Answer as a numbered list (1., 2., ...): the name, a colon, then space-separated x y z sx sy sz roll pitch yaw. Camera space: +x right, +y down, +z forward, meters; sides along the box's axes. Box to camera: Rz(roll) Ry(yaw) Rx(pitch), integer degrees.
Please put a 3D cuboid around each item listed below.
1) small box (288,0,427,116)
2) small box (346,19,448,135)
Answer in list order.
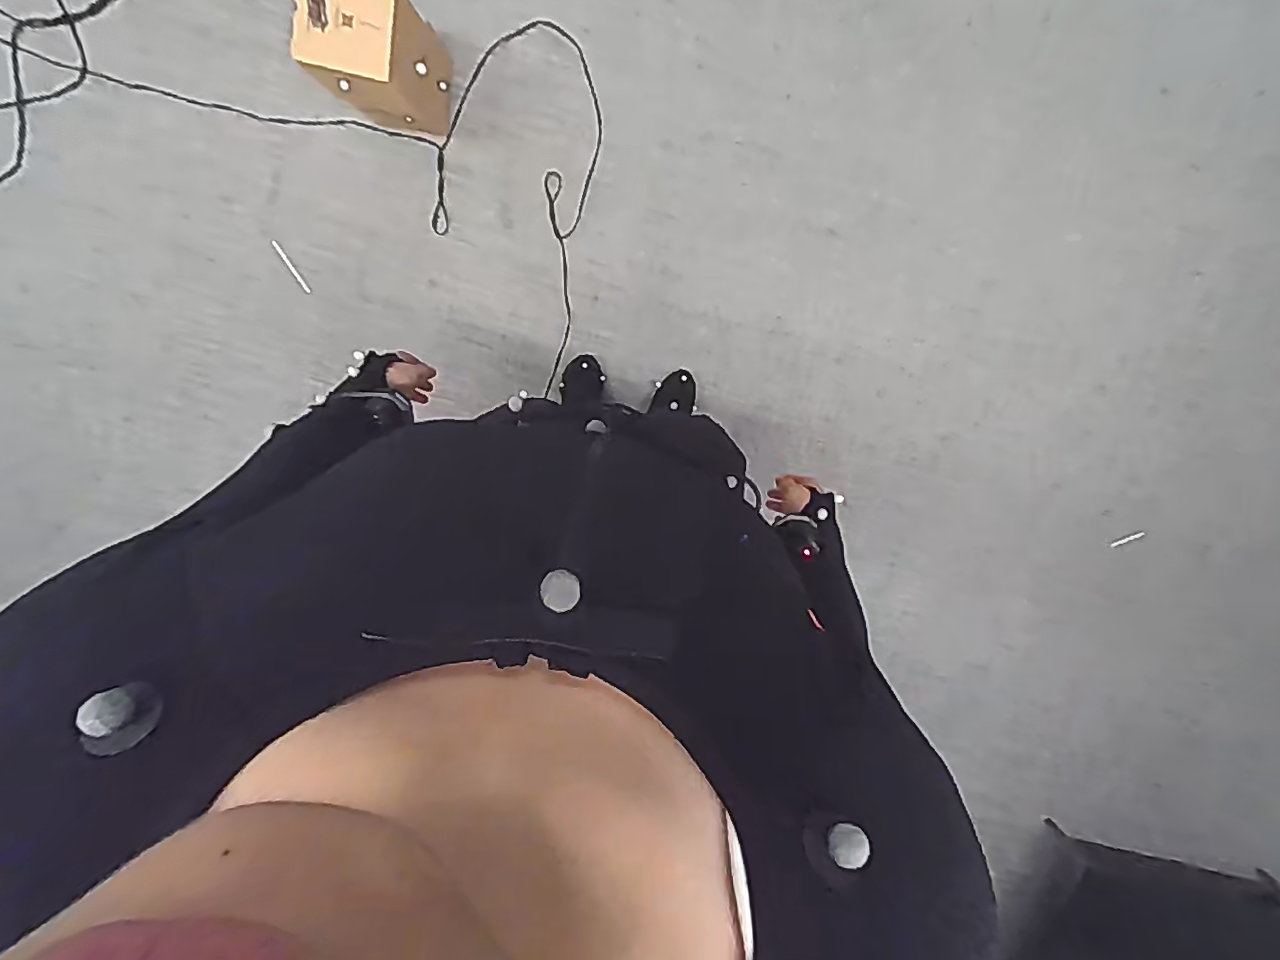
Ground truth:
1. small box: -0.531 -0.830 1.033 0.179 0.176 0.168 11 104 -4
2. small box: -0.535 -0.887 1.188 0.179 0.176 0.168 7 103 -2
